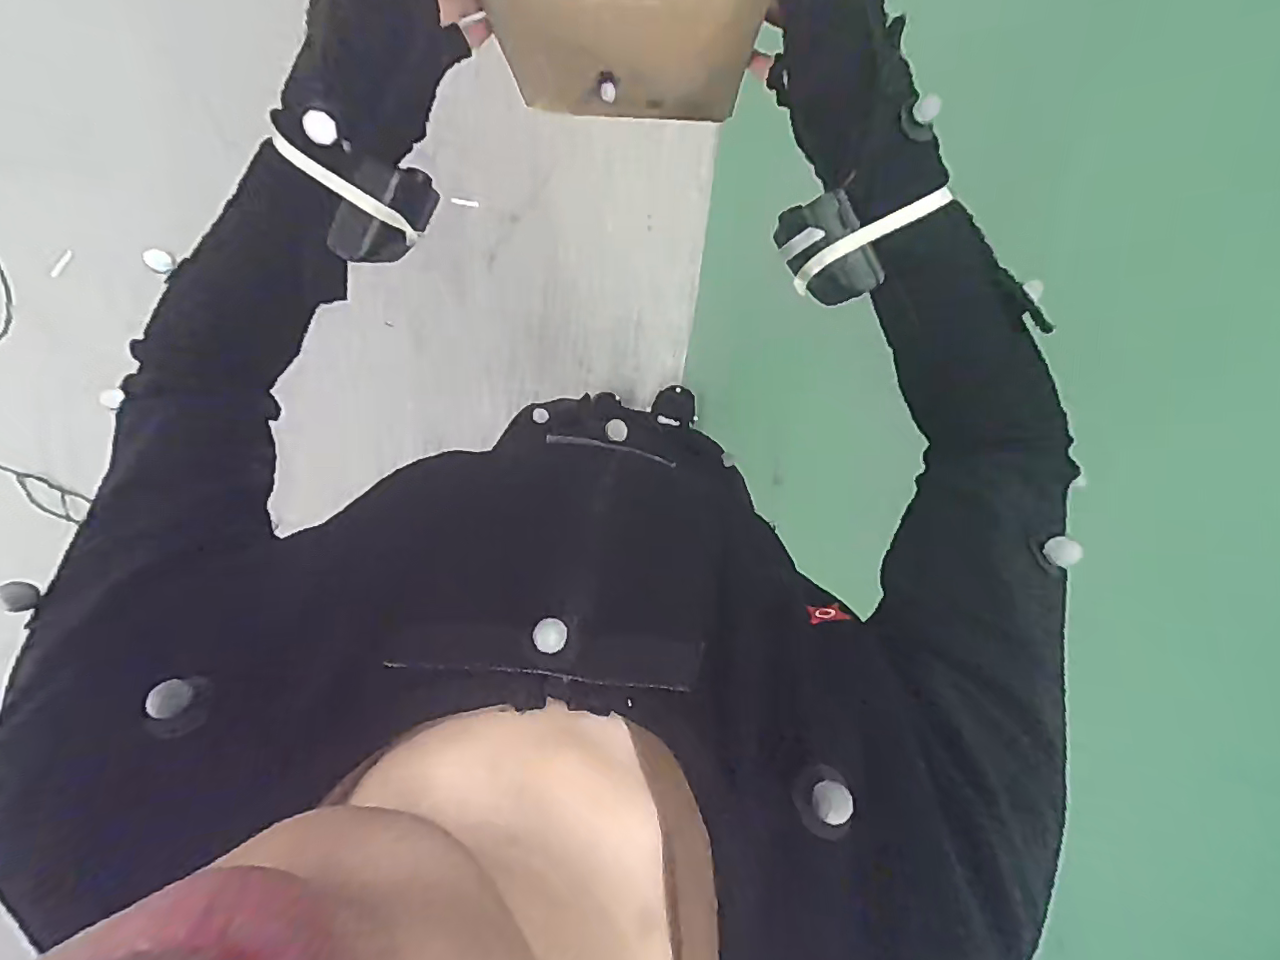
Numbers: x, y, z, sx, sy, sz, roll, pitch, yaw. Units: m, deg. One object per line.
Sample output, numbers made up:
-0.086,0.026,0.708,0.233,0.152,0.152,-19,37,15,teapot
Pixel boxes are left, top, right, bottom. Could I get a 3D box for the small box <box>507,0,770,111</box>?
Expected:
-0.002,-0.371,0.338,0.168,0.176,0.179,3,101,0,small box
